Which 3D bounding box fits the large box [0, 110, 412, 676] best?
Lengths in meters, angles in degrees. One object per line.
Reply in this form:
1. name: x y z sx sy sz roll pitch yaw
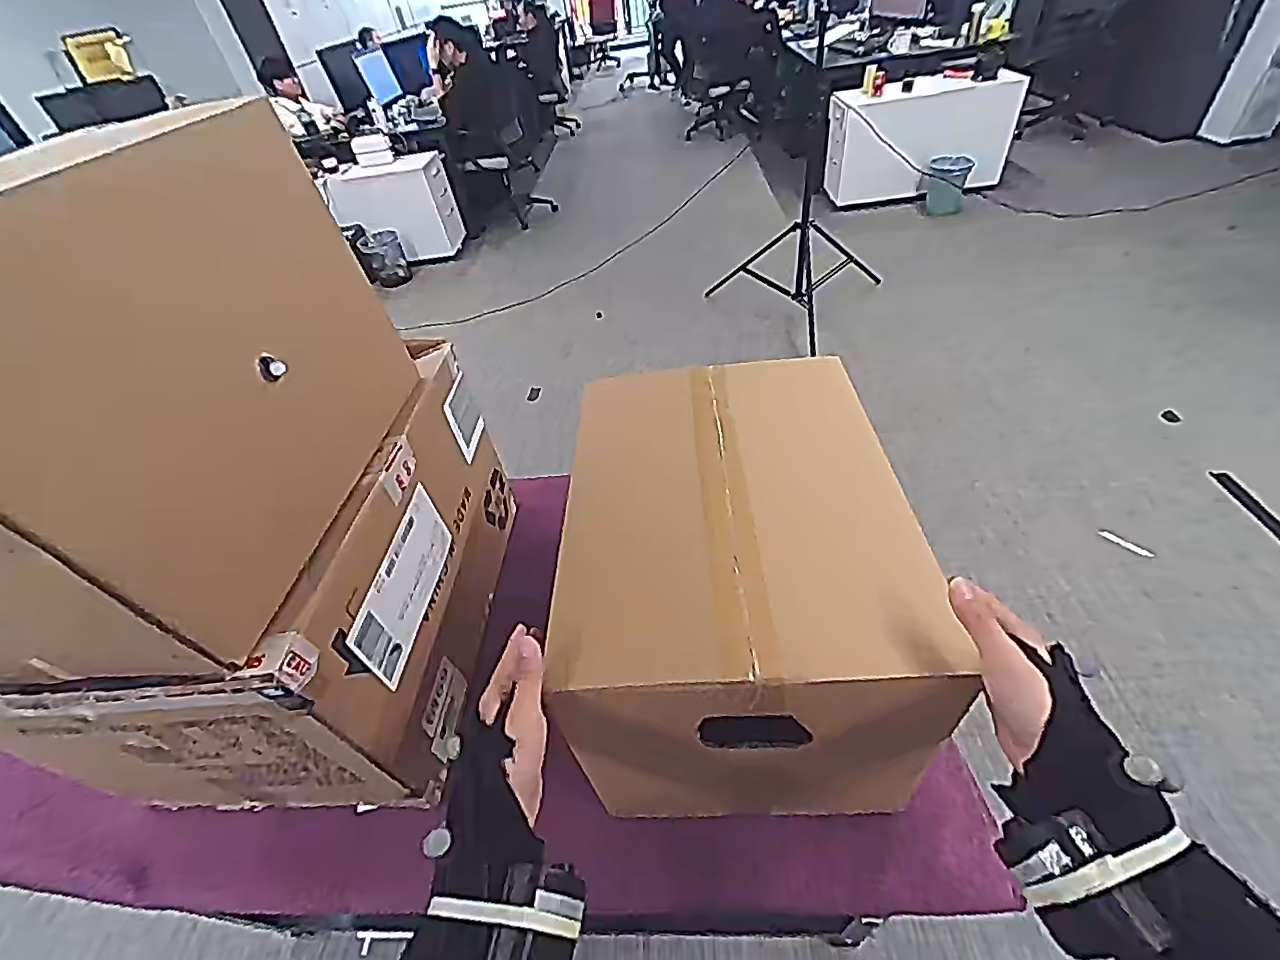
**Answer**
1. large box: -0.471 -0.085 0.489 0.320 0.320 0.408 -7 44 10
